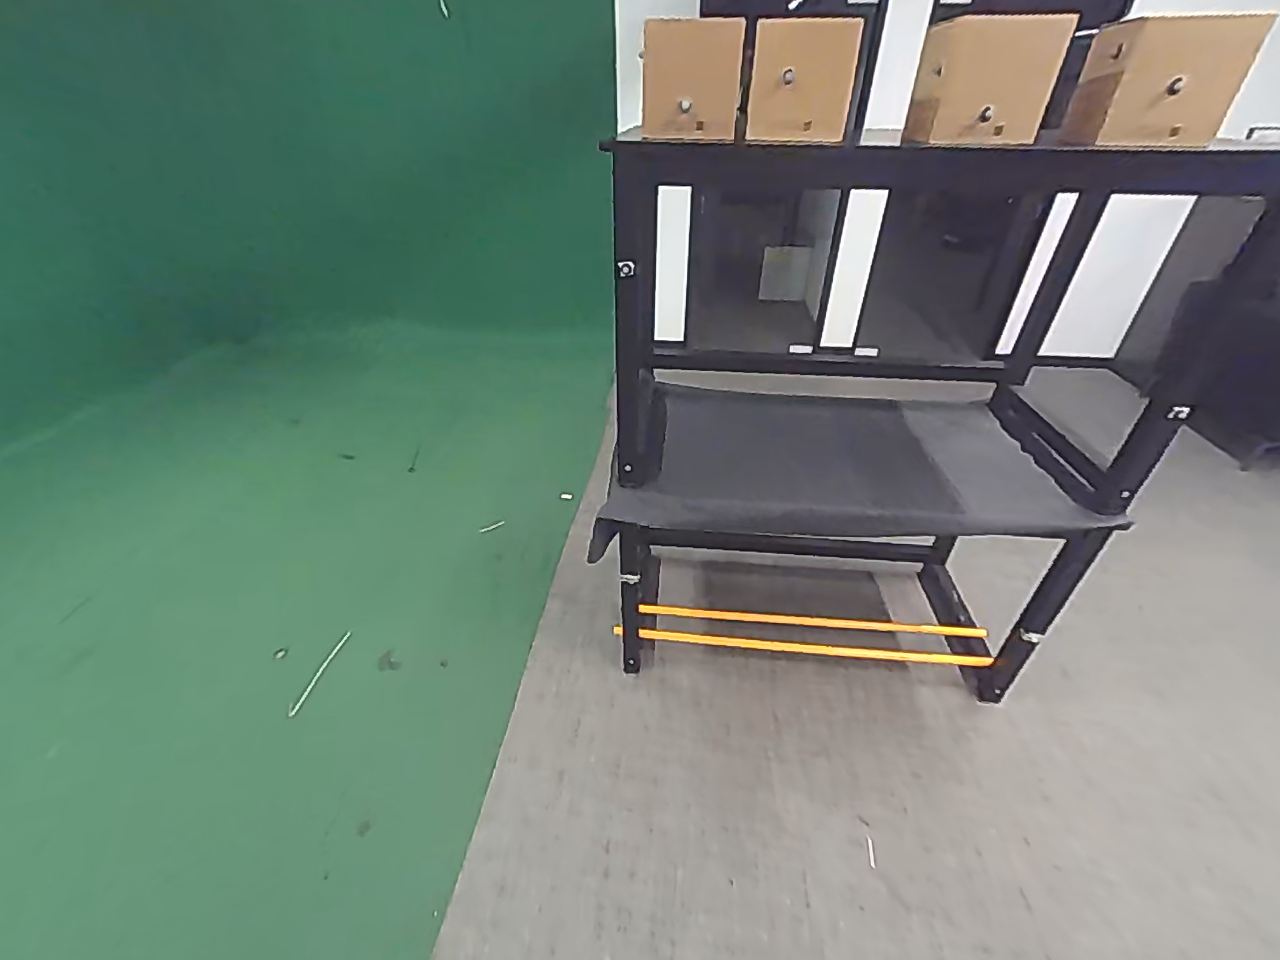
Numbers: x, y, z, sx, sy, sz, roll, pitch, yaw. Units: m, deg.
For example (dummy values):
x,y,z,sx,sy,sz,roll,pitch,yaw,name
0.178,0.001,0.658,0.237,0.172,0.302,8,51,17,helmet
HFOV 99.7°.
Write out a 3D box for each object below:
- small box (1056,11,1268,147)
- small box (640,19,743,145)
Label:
x,y,z,sx,sy,sz,roll,pitch,yaw,name
0.845,-0.658,0.902,0.168,0.176,0.179,9,35,11,small box
0.089,-0.718,0.985,0.168,0.176,0.179,3,36,3,small box
